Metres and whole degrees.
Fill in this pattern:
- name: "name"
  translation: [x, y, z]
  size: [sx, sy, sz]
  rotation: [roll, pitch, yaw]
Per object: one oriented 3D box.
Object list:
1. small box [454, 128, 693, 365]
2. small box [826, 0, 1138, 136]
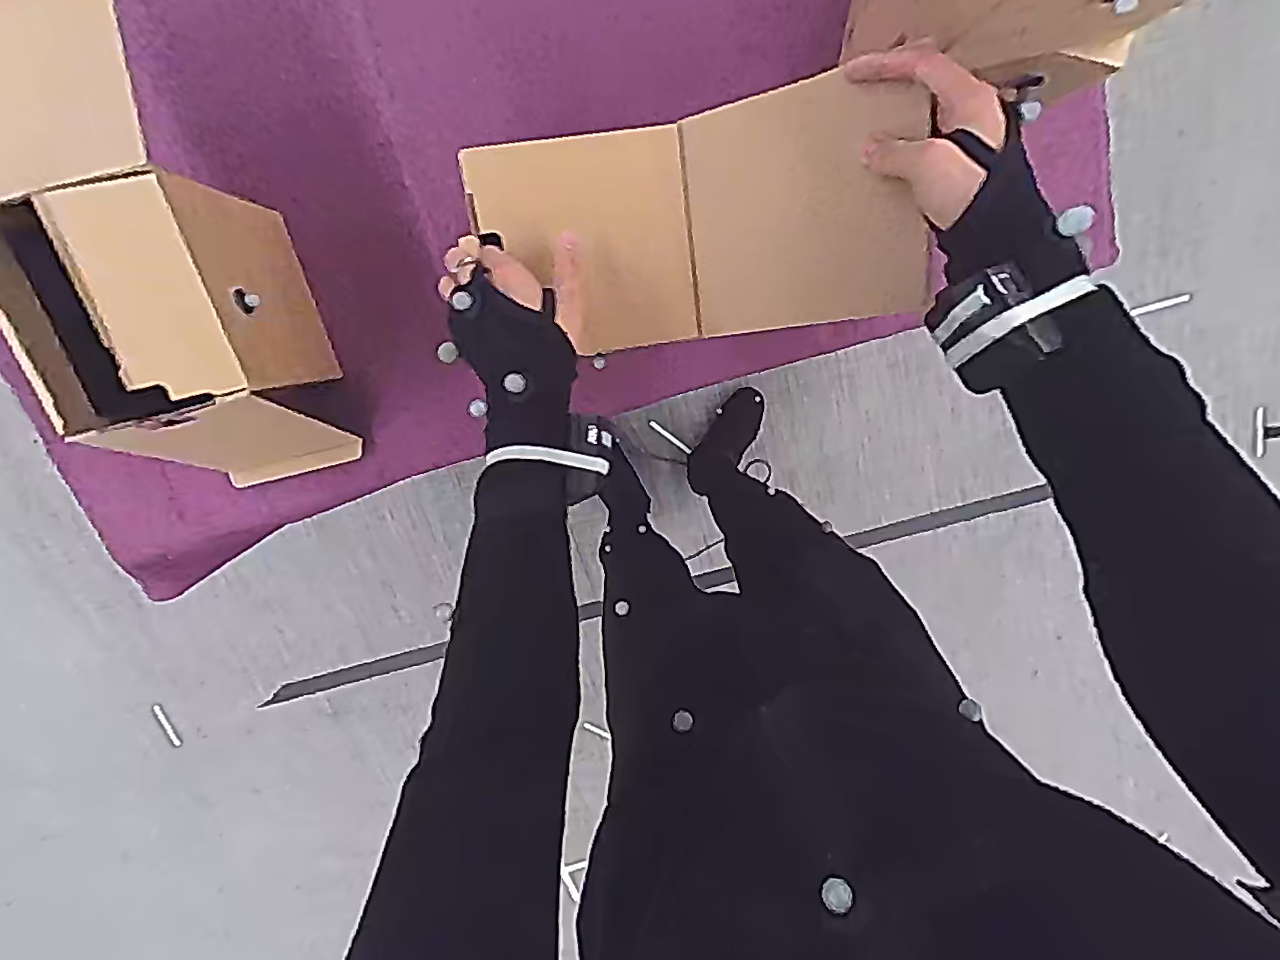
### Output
- name: "small box"
  translation: [-0.052, -0.204, 0.513]
  size: [0.179, 0.176, 0.168]
  rotation: [-8, 106, -1]
- name: "small box"
  translation: [0.290, -0.425, 0.467]
  size: [0.179, 0.176, 0.168]
  rotation: [8, 104, -5]
